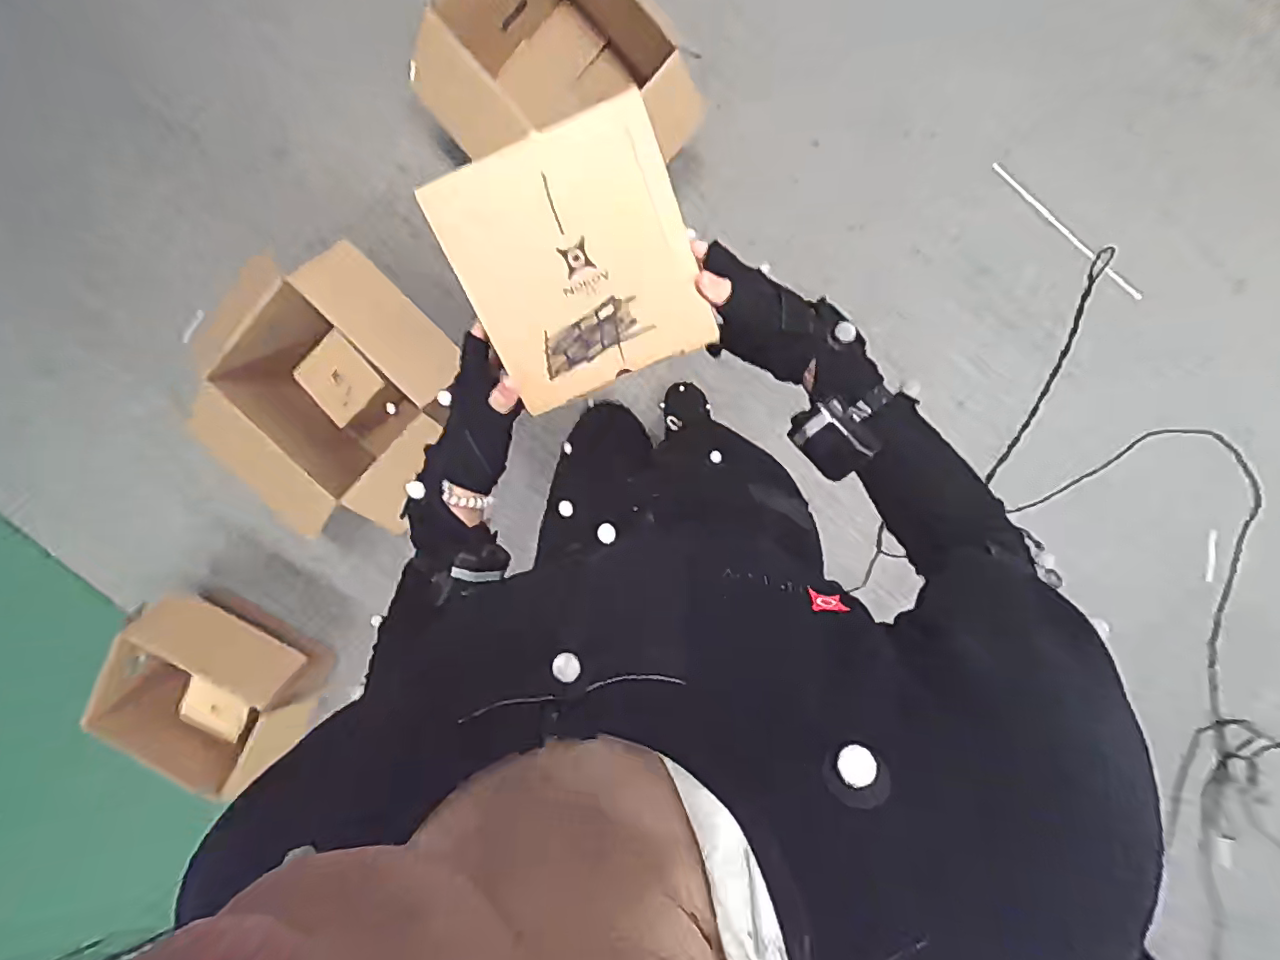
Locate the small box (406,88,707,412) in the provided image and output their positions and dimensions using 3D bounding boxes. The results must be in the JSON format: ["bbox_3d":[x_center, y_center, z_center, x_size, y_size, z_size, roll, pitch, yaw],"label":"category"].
[{"bbox_3d":[-0.060,-0.188,0.463,0.168,0.176,0.179,-24,115,3],"label":"small box"}]
